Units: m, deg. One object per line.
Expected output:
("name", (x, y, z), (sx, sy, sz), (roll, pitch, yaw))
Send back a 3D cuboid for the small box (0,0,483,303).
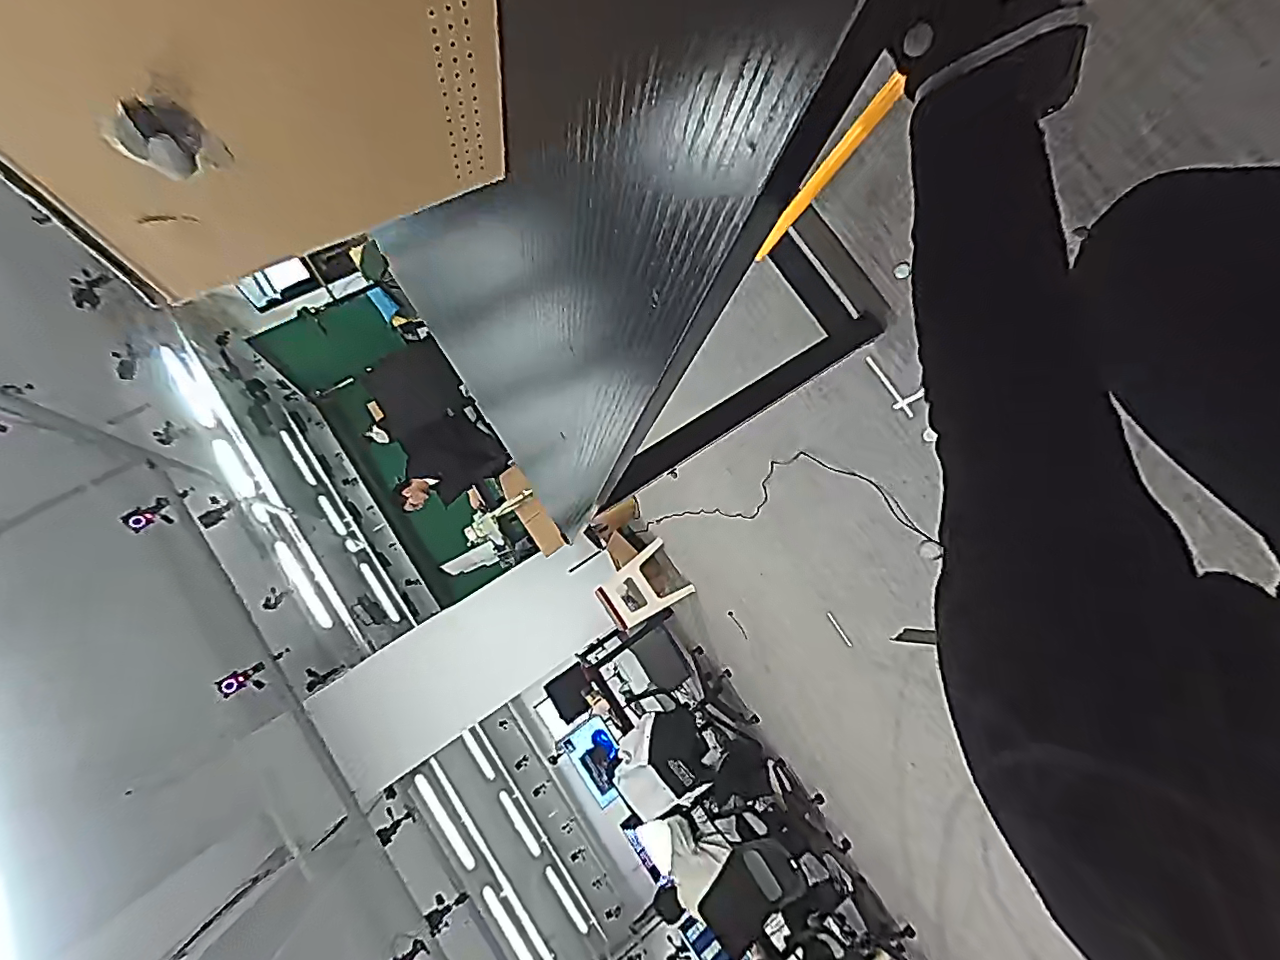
("small box", (-0.167, -0.200, 0.183), (0.168, 0.176, 0.179), (57, 163, 4))
